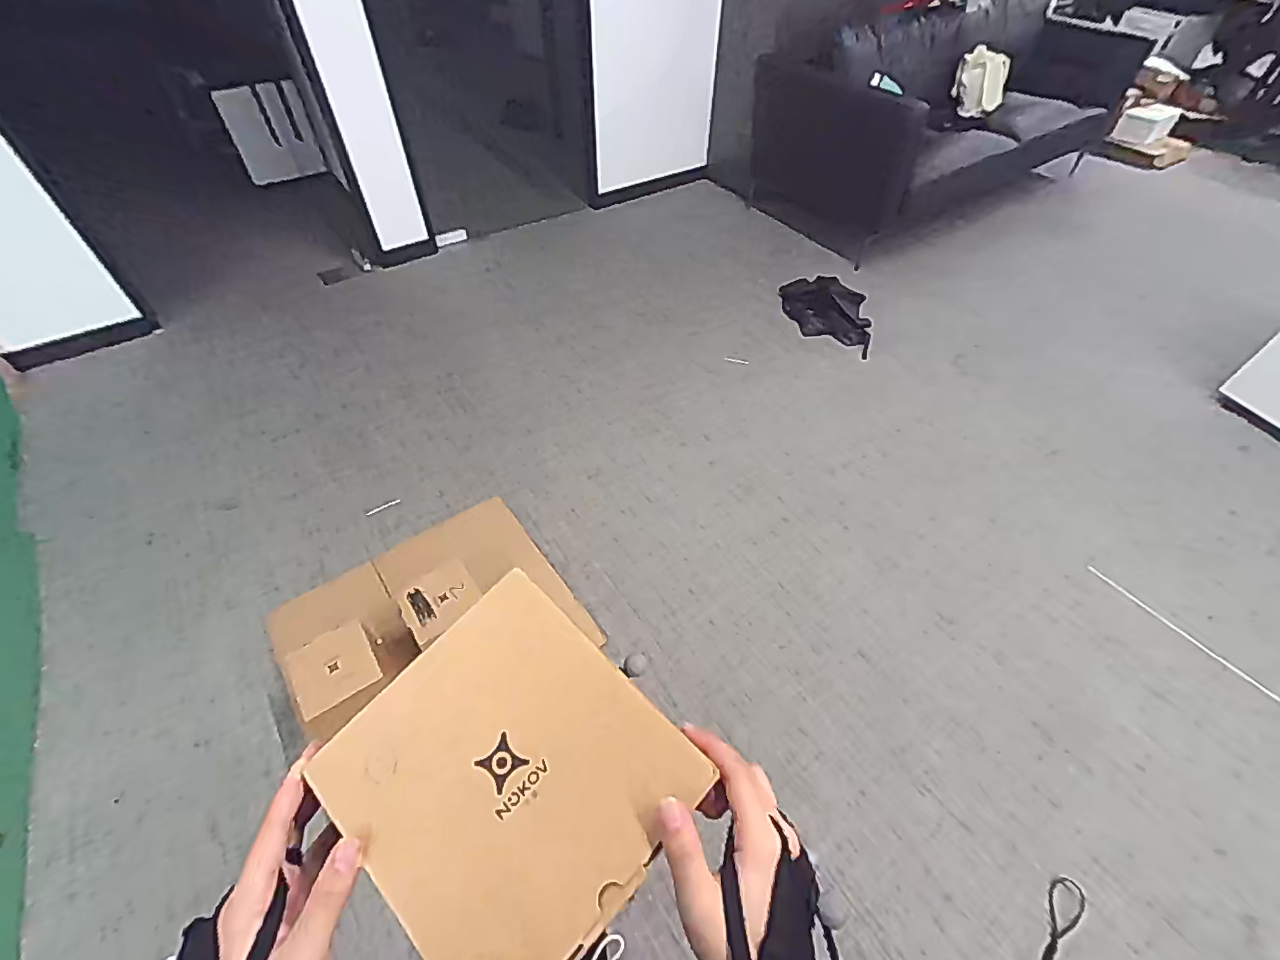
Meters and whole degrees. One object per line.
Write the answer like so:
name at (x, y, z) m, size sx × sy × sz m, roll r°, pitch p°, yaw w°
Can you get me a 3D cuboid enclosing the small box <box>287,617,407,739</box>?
small box at (-0.668, 0.458, 1.243) m, size 0.168 × 0.176 × 0.179 m, roll -30°, pitch 57°, yaw -23°
